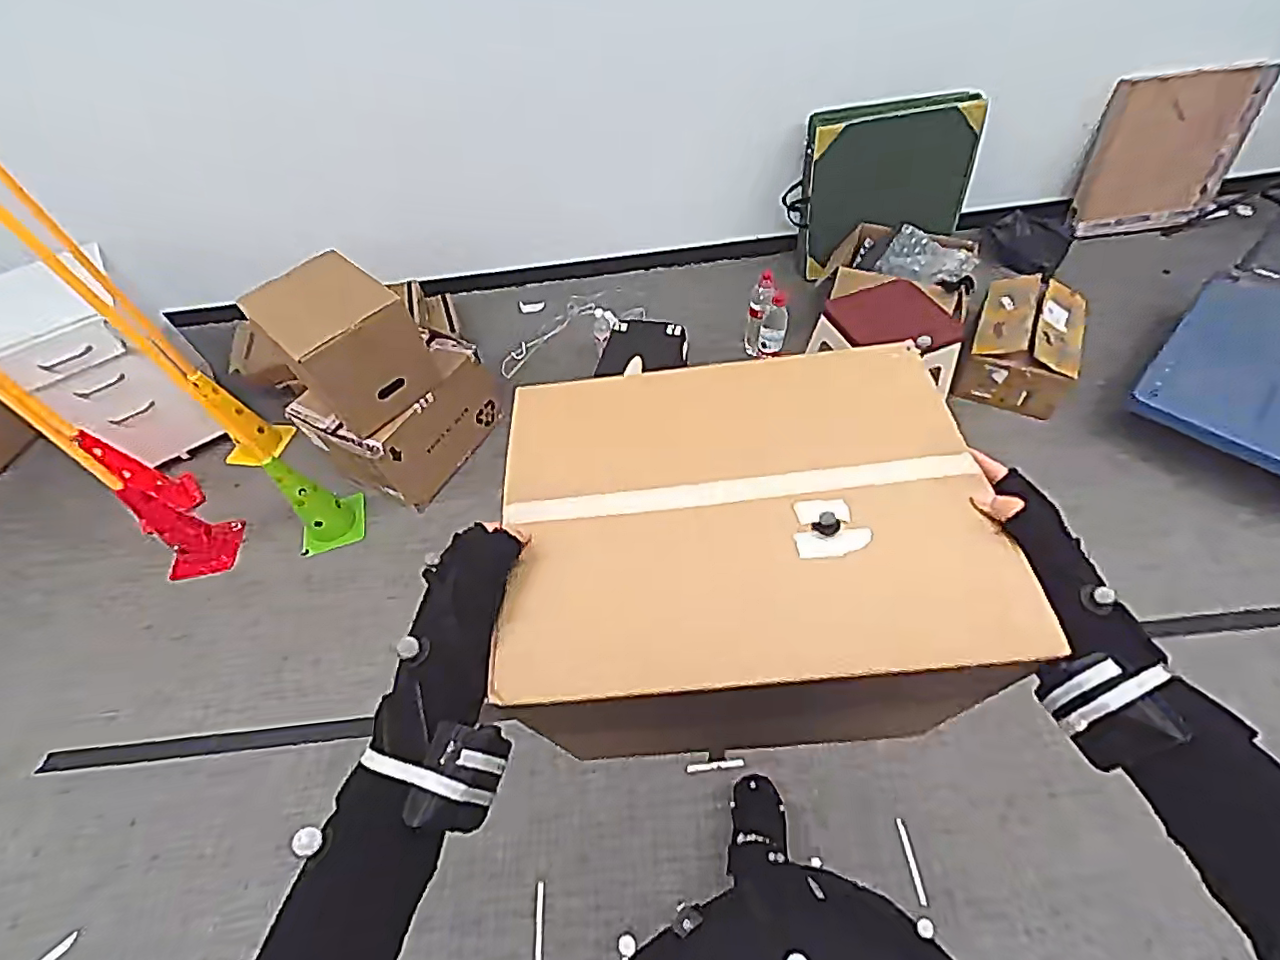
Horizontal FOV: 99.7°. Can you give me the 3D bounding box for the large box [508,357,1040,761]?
[{"bbox_3d":[0.099,0.104,0.604,0.408,0.320,0.320,-6,55,3],"label":"large box"}]
